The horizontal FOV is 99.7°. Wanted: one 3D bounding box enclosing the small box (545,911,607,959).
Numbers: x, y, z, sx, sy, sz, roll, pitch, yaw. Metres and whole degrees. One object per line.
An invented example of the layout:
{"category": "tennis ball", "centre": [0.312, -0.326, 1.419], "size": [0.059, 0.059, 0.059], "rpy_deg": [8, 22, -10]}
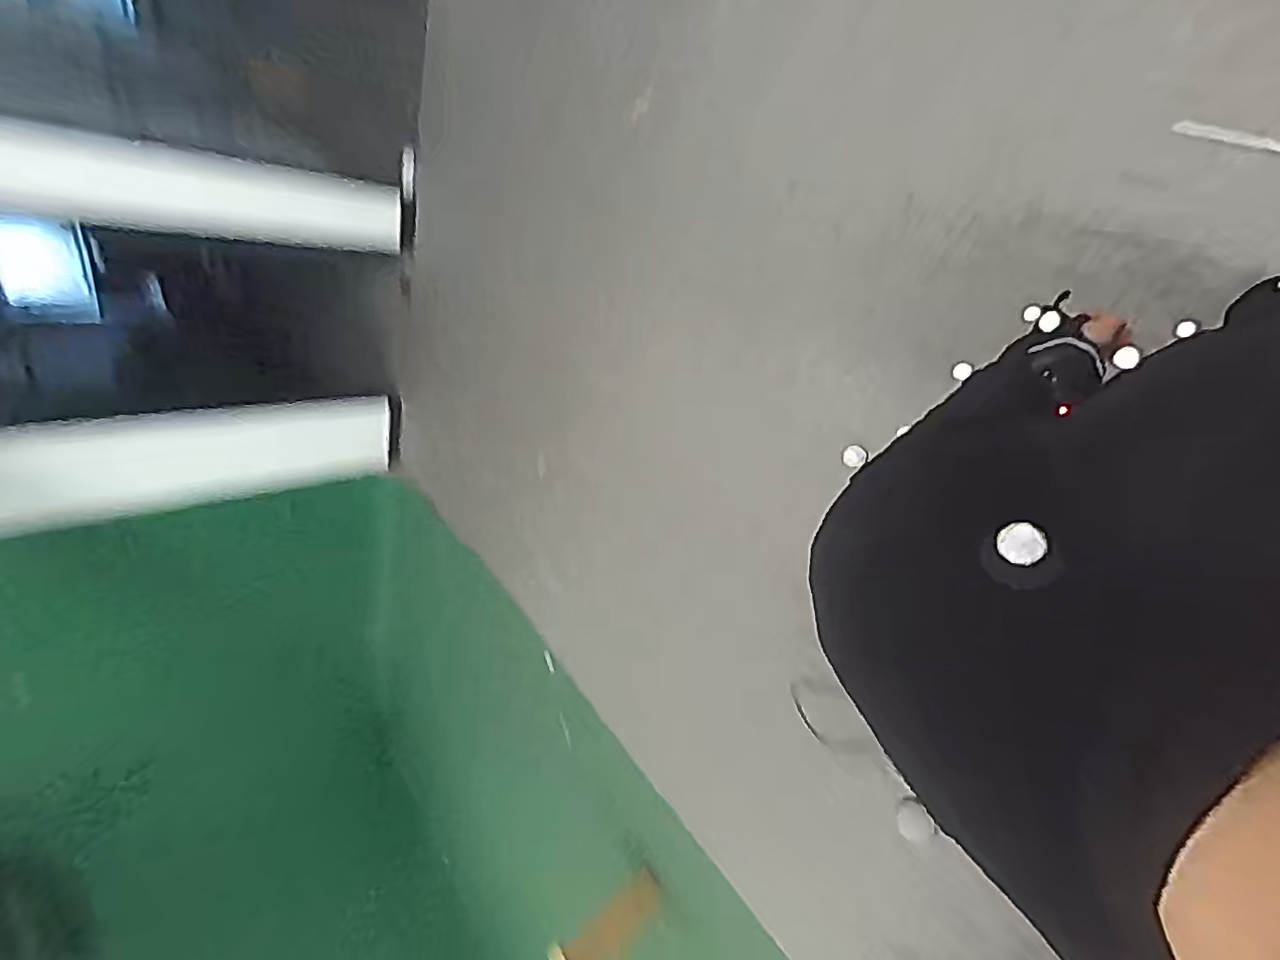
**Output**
{"category": "small box", "centre": [-0.259, 1.925, 2.207], "size": [0.168, 0.176, 0.179], "rpy_deg": [39, 125, 30]}
